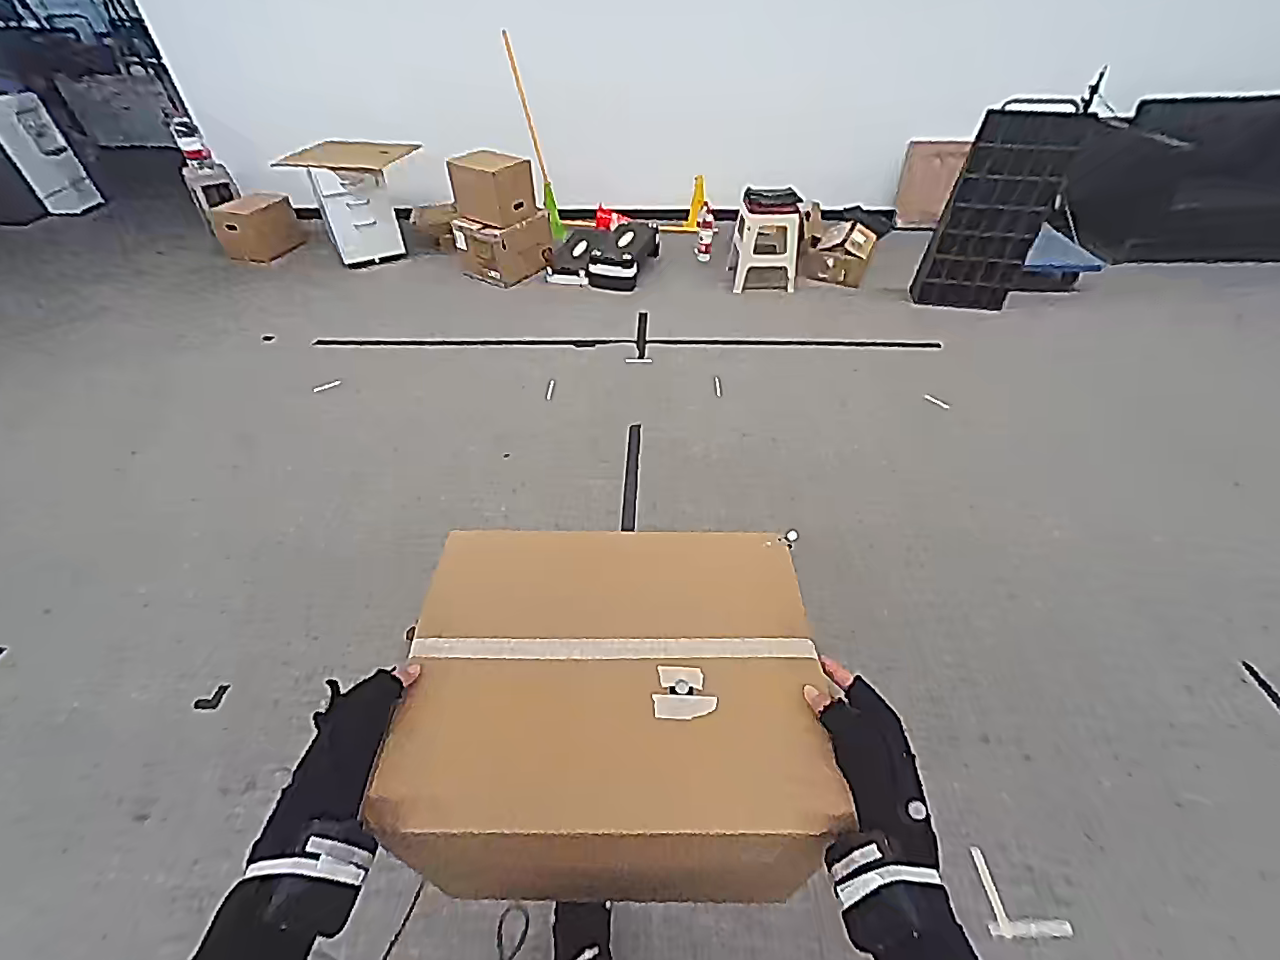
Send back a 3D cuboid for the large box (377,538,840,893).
[{"bbox_3d":[-0.030,0.286,0.665,0.408,0.320,0.320,1,44,-1],"label":"large box"}]
